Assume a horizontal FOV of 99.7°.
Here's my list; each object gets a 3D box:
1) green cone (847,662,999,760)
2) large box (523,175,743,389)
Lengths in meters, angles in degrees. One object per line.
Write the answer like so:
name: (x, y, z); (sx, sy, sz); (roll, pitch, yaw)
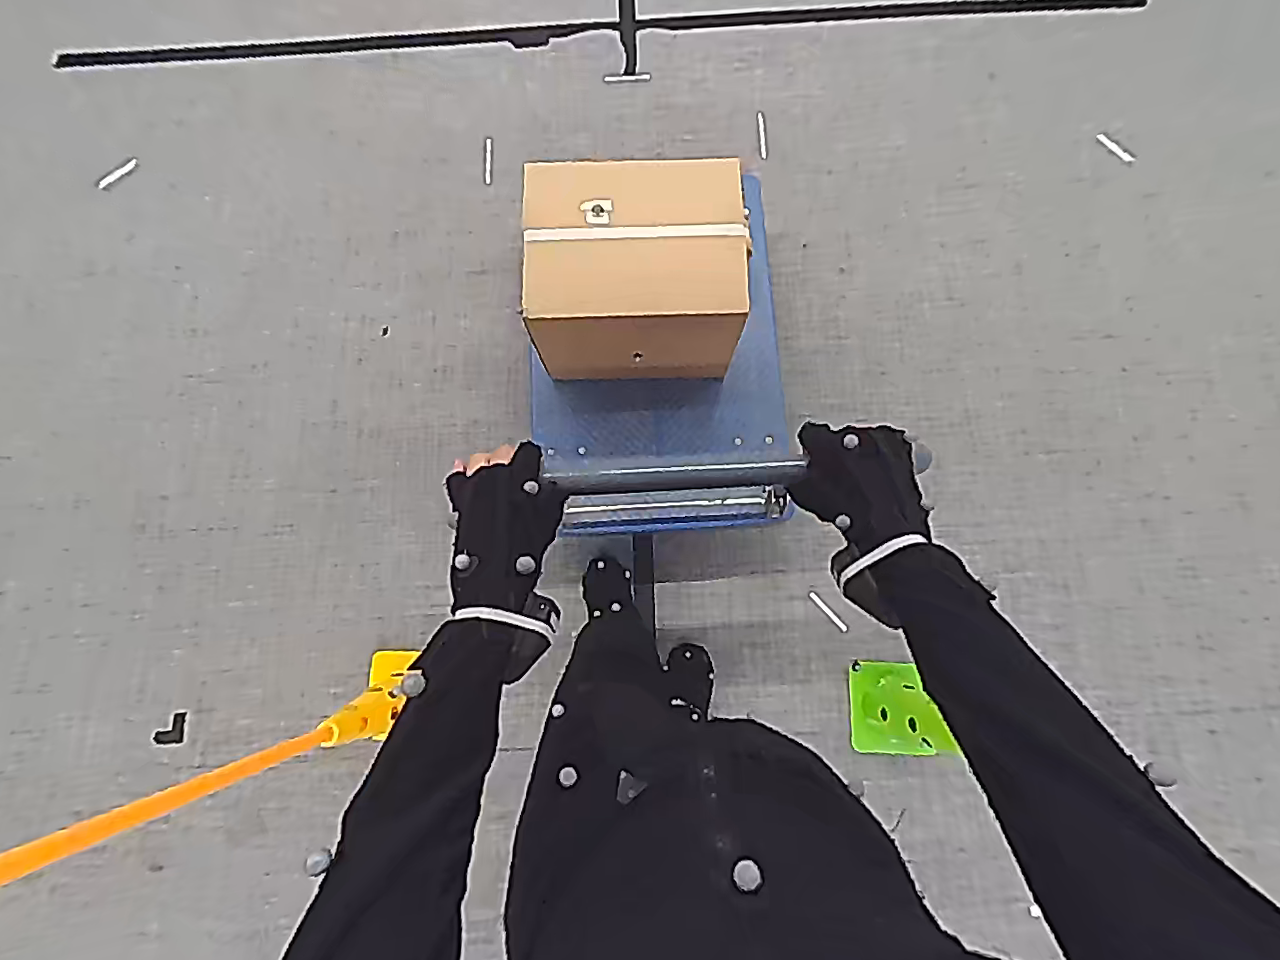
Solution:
green cone: (0.590, 0.499, 1.101); (0.202, 0.368, 0.200); (1, 78, 0)
large box: (-0.013, -0.393, 1.145); (0.408, 0.320, 0.320); (-2, 79, 1)
